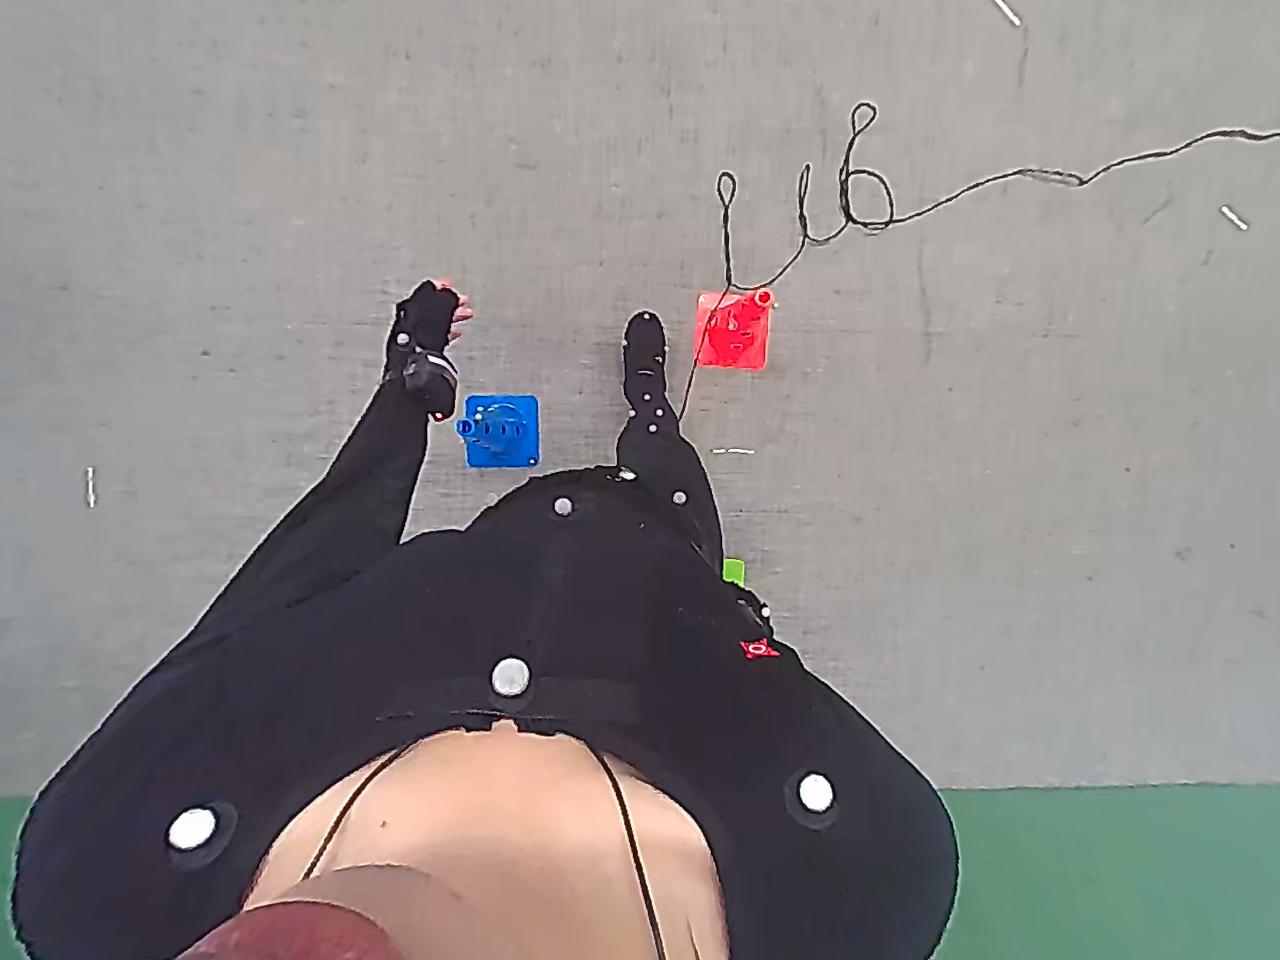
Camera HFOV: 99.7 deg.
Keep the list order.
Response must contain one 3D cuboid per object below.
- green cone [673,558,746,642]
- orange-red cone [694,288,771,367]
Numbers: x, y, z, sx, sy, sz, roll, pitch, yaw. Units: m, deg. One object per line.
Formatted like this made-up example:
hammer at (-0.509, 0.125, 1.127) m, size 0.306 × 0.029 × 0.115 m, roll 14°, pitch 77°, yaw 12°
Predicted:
green cone at (0.204, 0.330, 1.353) m, size 0.200 × 0.368 × 0.202 m, roll 3°, pitch 93°, yaw -2°
orange-red cone at (0.255, -0.399, 1.308) m, size 0.198 × 0.360 × 0.199 m, roll 5°, pitch 95°, yaw -1°
